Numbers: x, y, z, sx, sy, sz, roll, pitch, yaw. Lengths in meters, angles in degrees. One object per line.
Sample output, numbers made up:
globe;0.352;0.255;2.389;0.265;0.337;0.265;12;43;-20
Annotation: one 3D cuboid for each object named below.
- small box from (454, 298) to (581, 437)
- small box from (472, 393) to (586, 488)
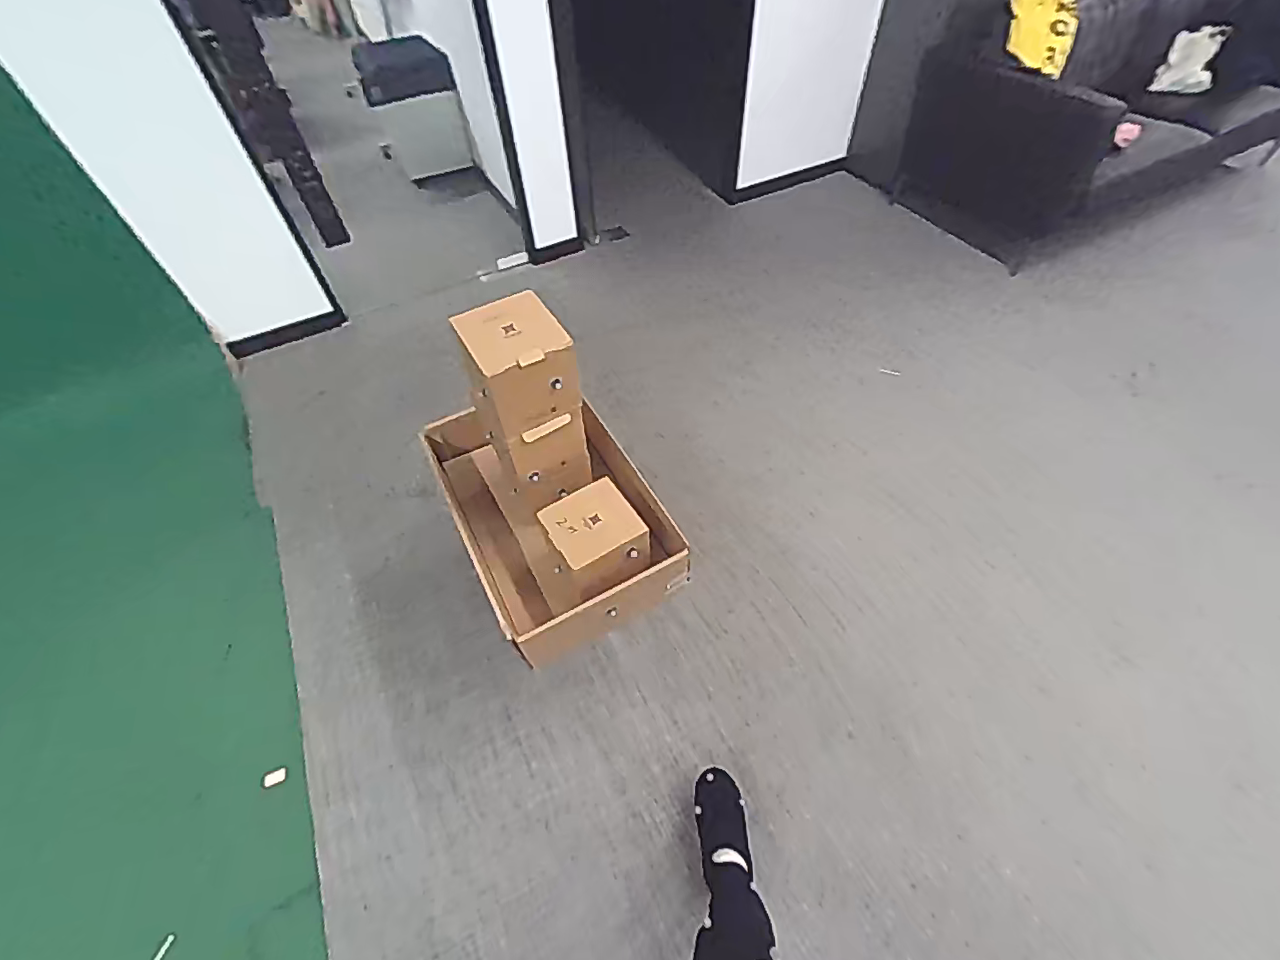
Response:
small box;-0.222;-0.203;1.018;0.168;0.176;0.179;-26;59;-18
small box;-0.228;-0.105;1.149;0.168;0.176;0.179;-29;59;-19
